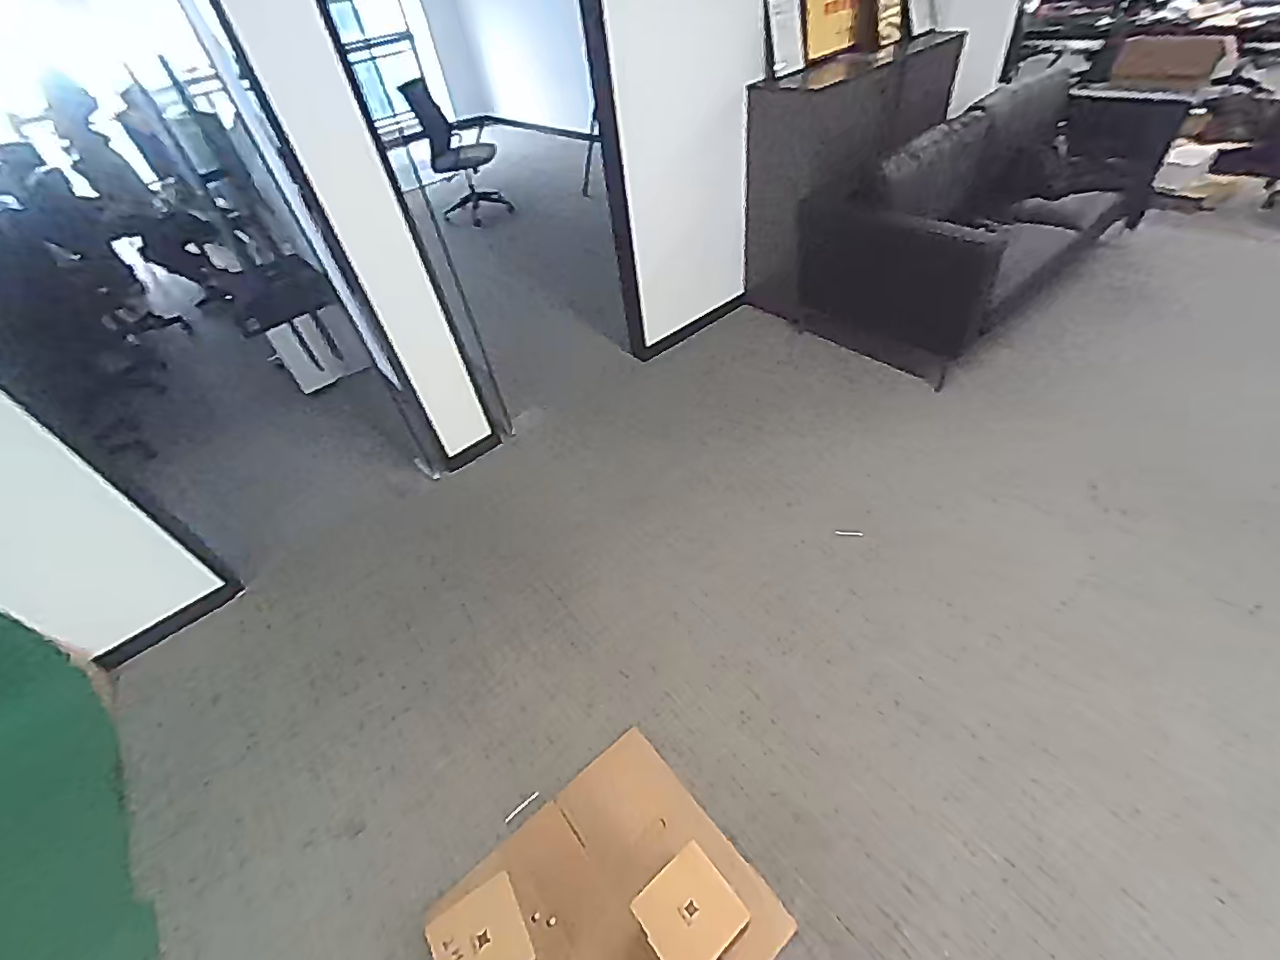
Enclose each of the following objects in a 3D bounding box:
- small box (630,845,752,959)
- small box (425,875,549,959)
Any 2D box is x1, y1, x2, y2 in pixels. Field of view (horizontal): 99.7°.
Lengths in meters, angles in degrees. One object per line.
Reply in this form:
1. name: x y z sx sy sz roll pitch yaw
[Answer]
1. small box: 0.103 0.883 1.084 0.179 0.176 0.168 -35 51 -22
2. small box: -0.296 0.941 1.080 0.179 0.176 0.168 -27 47 -18
